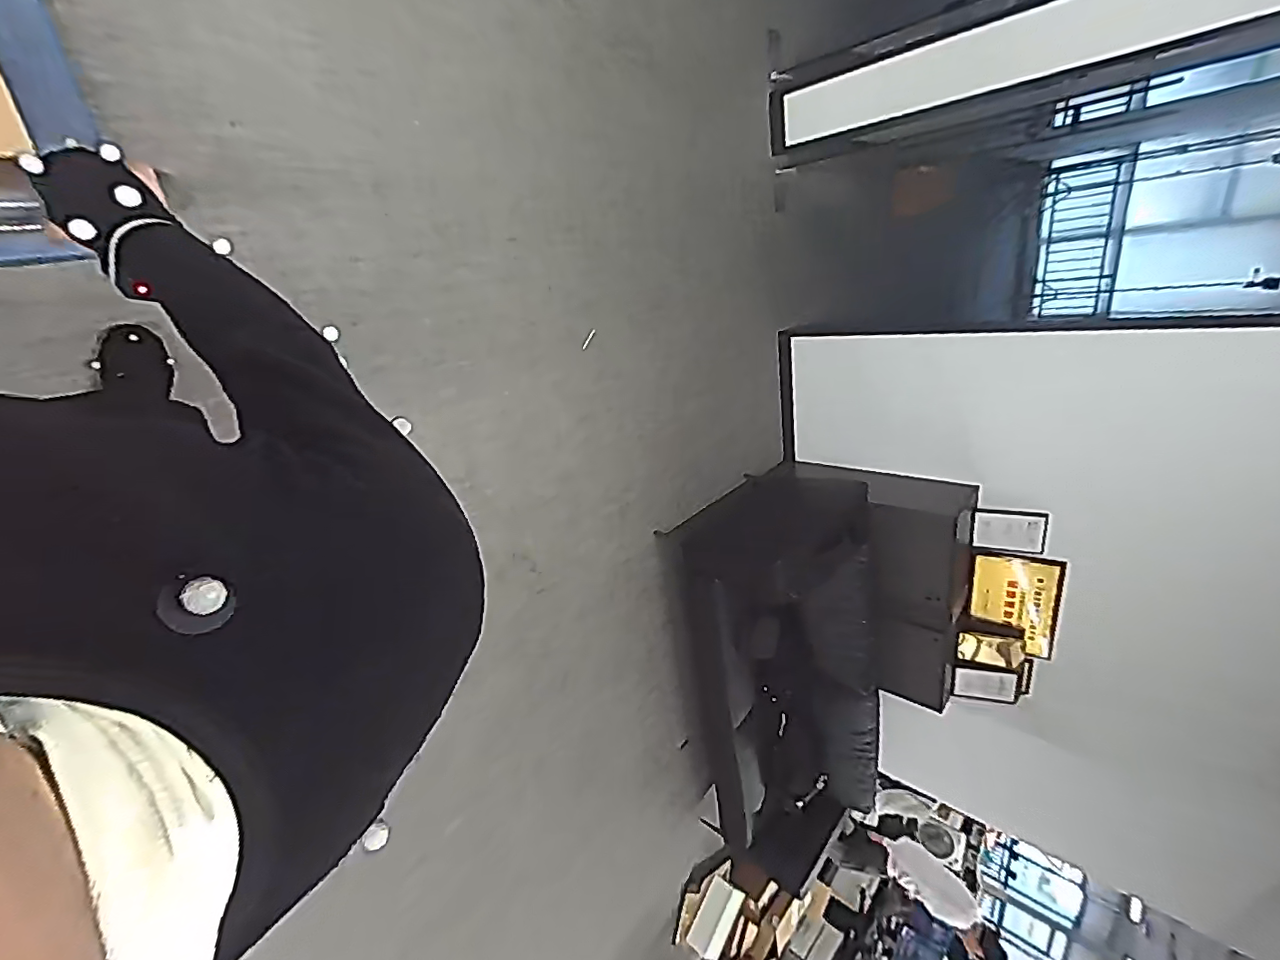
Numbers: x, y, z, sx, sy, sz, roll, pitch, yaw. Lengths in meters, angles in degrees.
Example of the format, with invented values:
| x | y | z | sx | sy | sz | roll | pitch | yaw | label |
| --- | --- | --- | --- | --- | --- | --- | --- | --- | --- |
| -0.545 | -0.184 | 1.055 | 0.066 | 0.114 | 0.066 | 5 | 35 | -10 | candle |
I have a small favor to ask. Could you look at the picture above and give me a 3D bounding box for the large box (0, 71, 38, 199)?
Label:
| x | y | z | sx | sy | sz | roll | pitch | yaw | label |
| --- | --- | --- | --- | --- | --- | --- | --- | --- | --- |
| -1.079 | -0.600 | 0.684 | 0.320 | 0.320 | 0.408 | -28 | 118 | -42 | large box |
